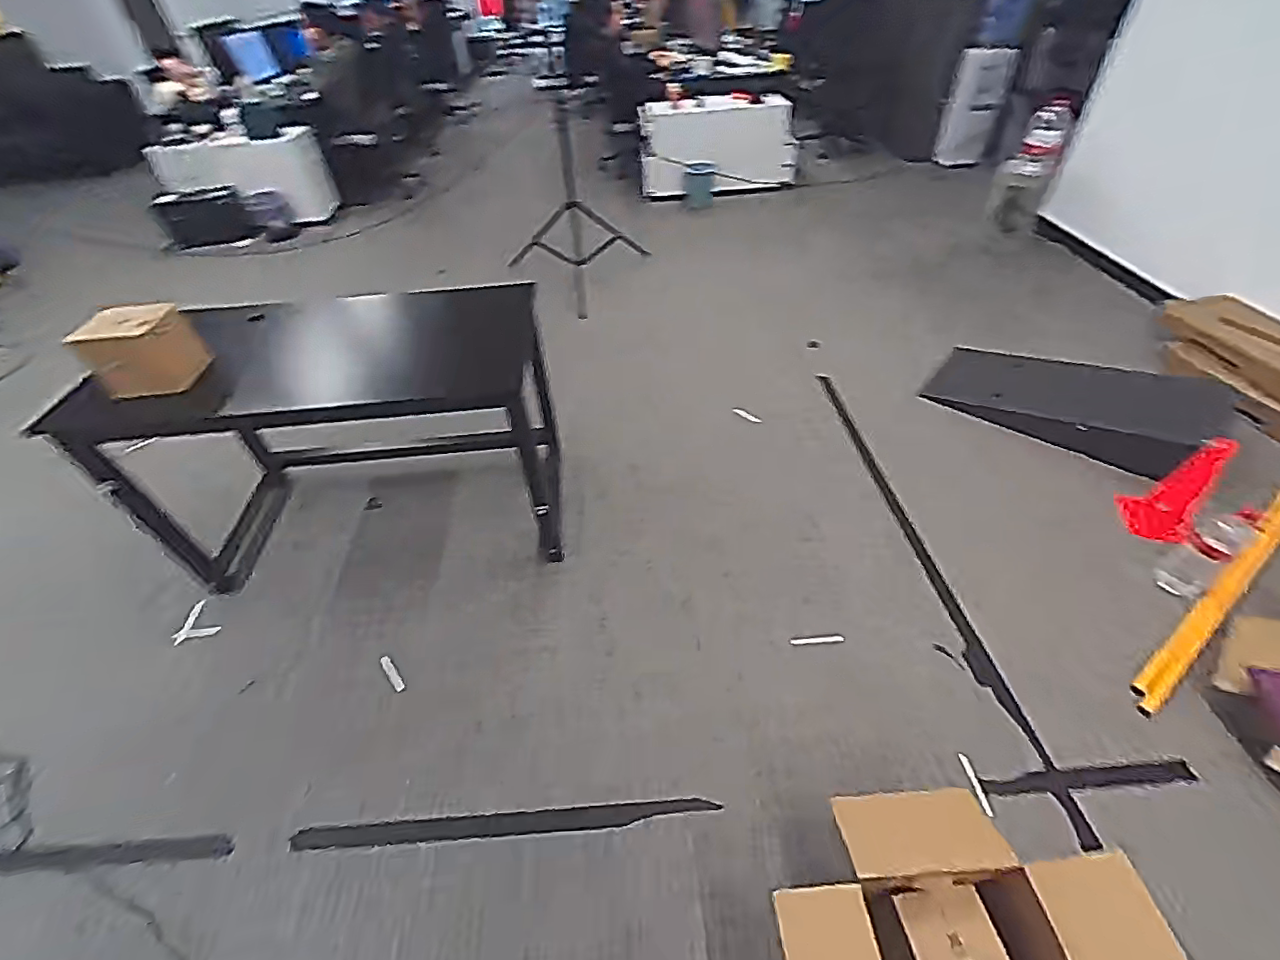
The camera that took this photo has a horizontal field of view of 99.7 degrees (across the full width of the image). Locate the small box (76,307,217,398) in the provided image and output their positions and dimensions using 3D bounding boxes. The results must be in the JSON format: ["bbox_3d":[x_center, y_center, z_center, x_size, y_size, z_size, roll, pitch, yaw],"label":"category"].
[{"bbox_3d":[-1.266,-0.326,1.404,0.179,0.176,0.168,-7,45,-2],"label":"small box"}]
